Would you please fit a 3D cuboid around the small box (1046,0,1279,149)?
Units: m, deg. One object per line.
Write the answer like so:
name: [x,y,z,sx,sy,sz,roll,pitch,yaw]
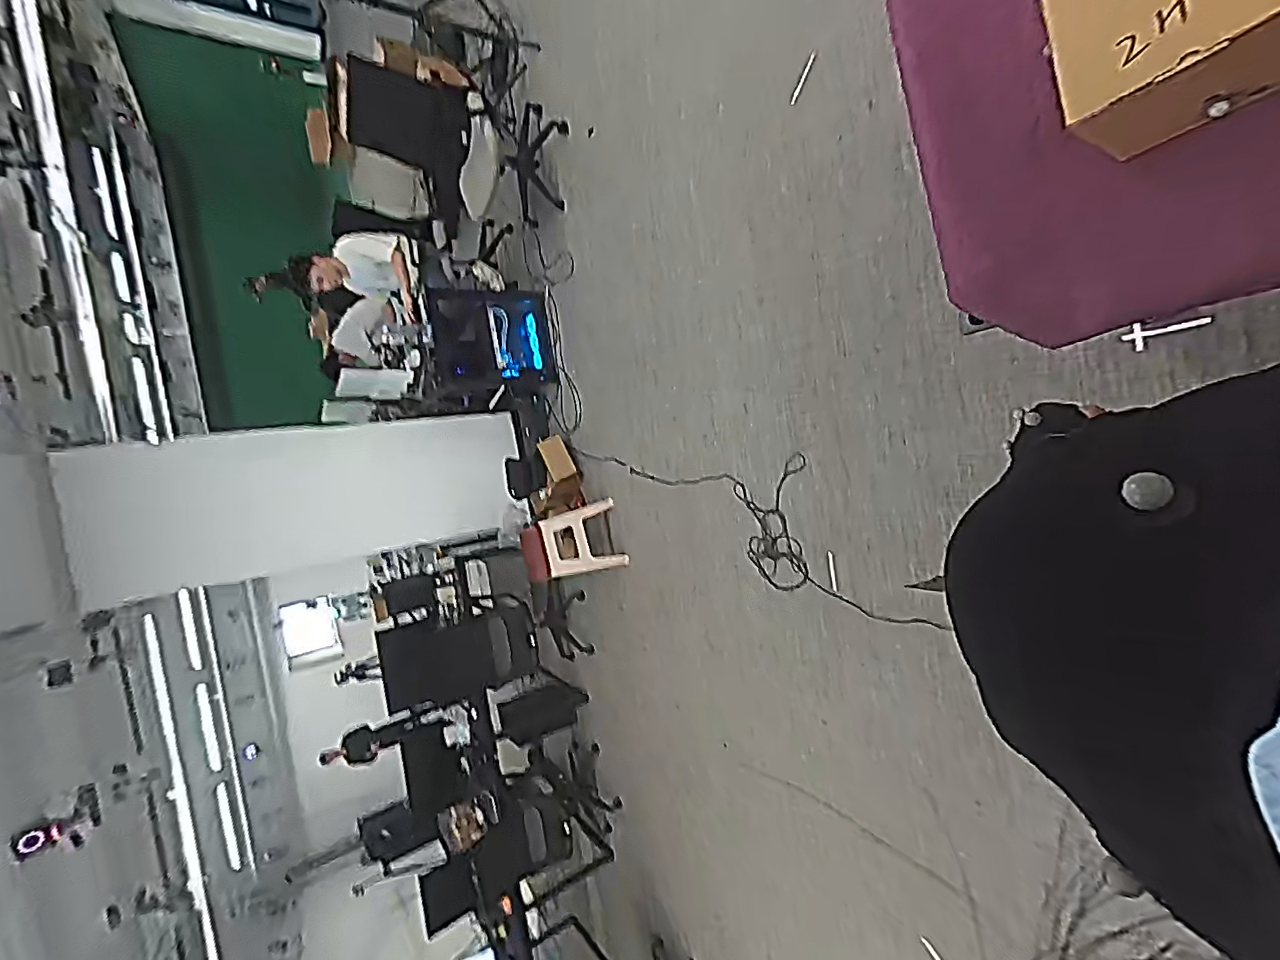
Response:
small box: [0.484,-0.429,0.470,0.168,0.176,0.179,-12,89,56]
